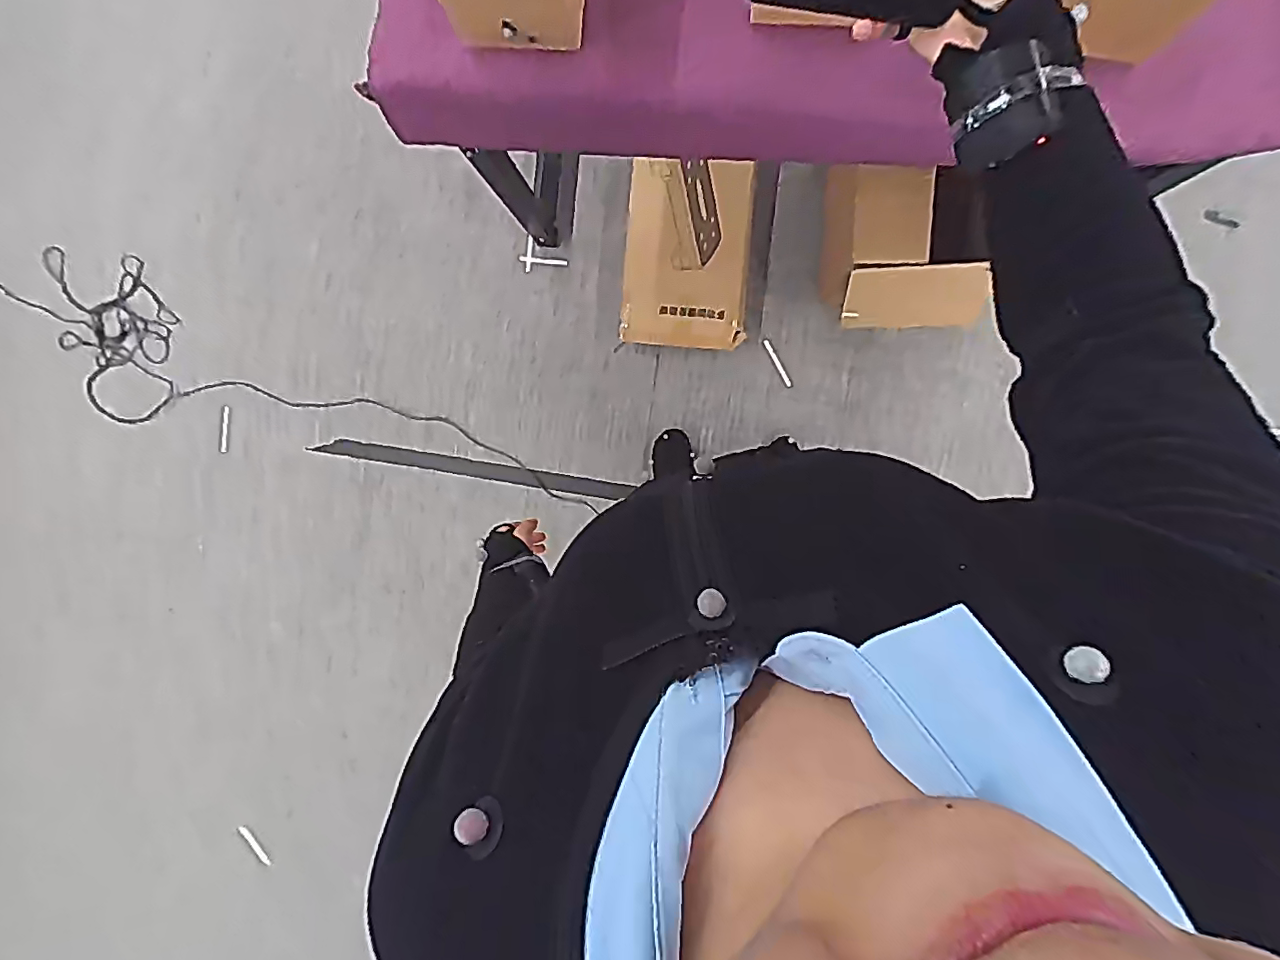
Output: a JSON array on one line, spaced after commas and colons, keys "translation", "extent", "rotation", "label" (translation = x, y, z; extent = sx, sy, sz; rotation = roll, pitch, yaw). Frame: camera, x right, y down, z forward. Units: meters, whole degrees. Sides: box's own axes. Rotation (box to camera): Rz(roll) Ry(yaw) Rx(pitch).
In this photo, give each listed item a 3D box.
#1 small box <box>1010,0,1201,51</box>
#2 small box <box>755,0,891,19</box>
[{"translation": [0.547, -0.611, 0.583], "extent": [0.179, 0.176, 0.168], "rotation": [13, 96, 4], "label": "small box"}, {"translation": [0.234, -0.668, 0.608], "extent": [0.179, 0.176, 0.168], "rotation": [6, 93, 5], "label": "small box"}]
